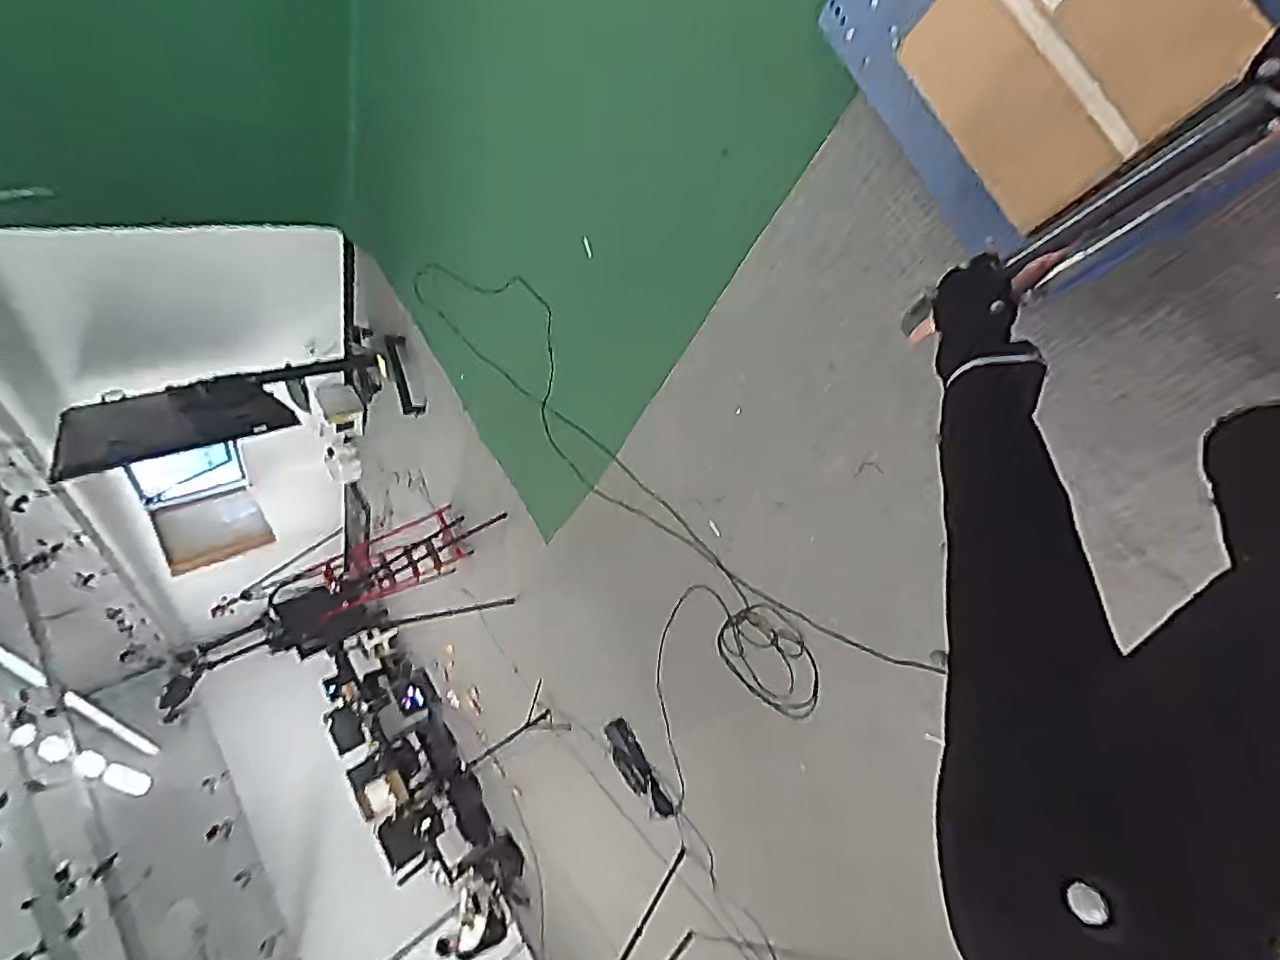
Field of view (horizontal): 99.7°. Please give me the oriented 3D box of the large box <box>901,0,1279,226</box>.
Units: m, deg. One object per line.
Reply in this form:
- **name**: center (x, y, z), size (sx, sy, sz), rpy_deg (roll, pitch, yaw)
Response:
- **large box**: center (0.738, -0.694, 0.902), size (0.320, 0.320, 0.408), rpy_deg (-38, 77, 51)
